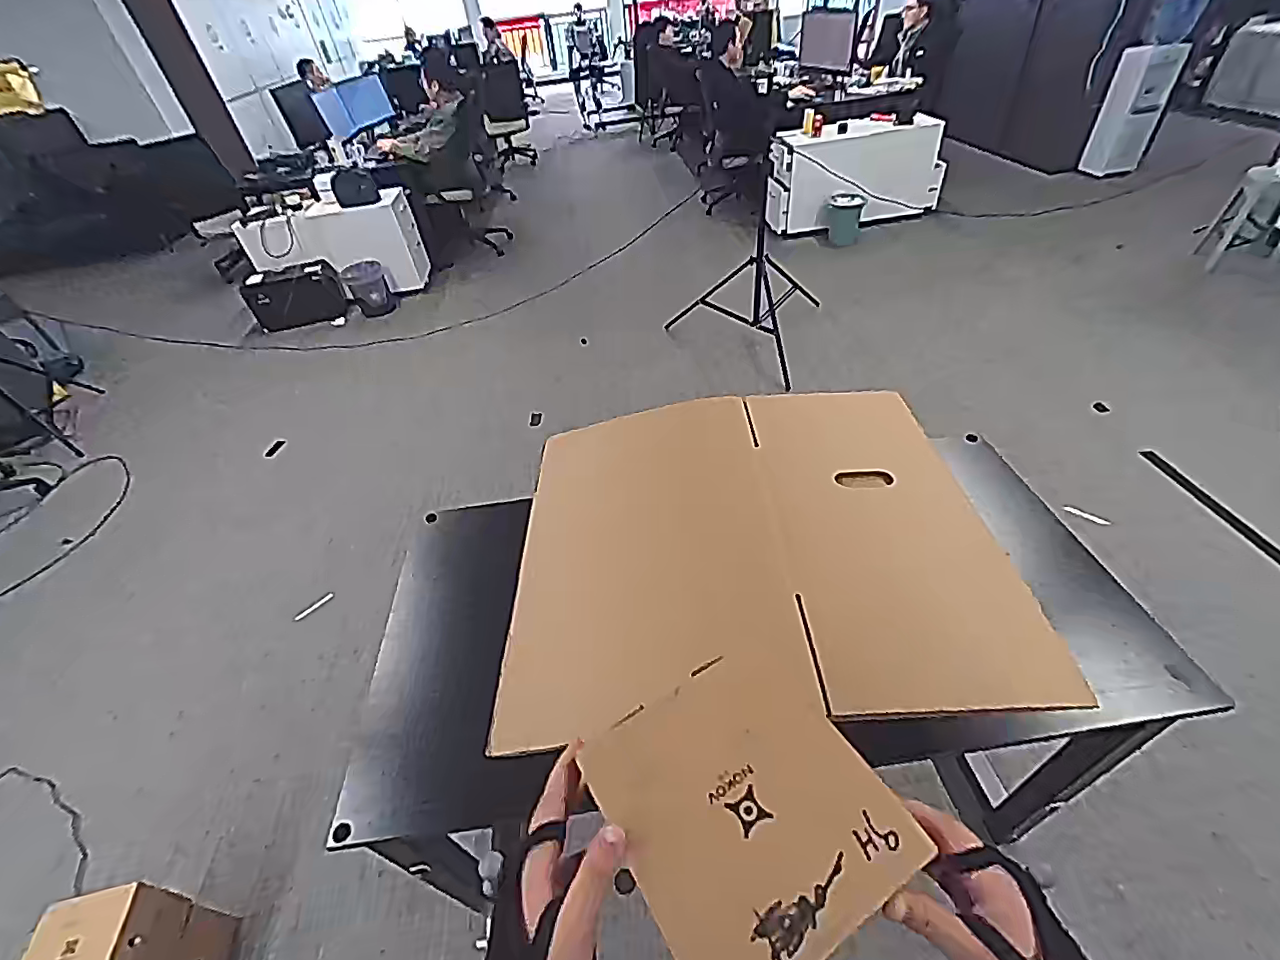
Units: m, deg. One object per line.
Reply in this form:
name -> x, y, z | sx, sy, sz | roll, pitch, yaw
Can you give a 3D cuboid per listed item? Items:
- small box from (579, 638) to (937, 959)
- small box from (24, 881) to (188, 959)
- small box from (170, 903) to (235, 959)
small box -> 0.073, 0.263, 0.407 | 0.168, 0.176, 0.179 | -26, 46, -19
small box -> -1.026, 0.912, 1.036 | 0.168, 0.176, 0.179 | -13, 42, -6
small box -> -1.008, 1.034, 1.142 | 0.168, 0.176, 0.179 | -11, 44, -3
